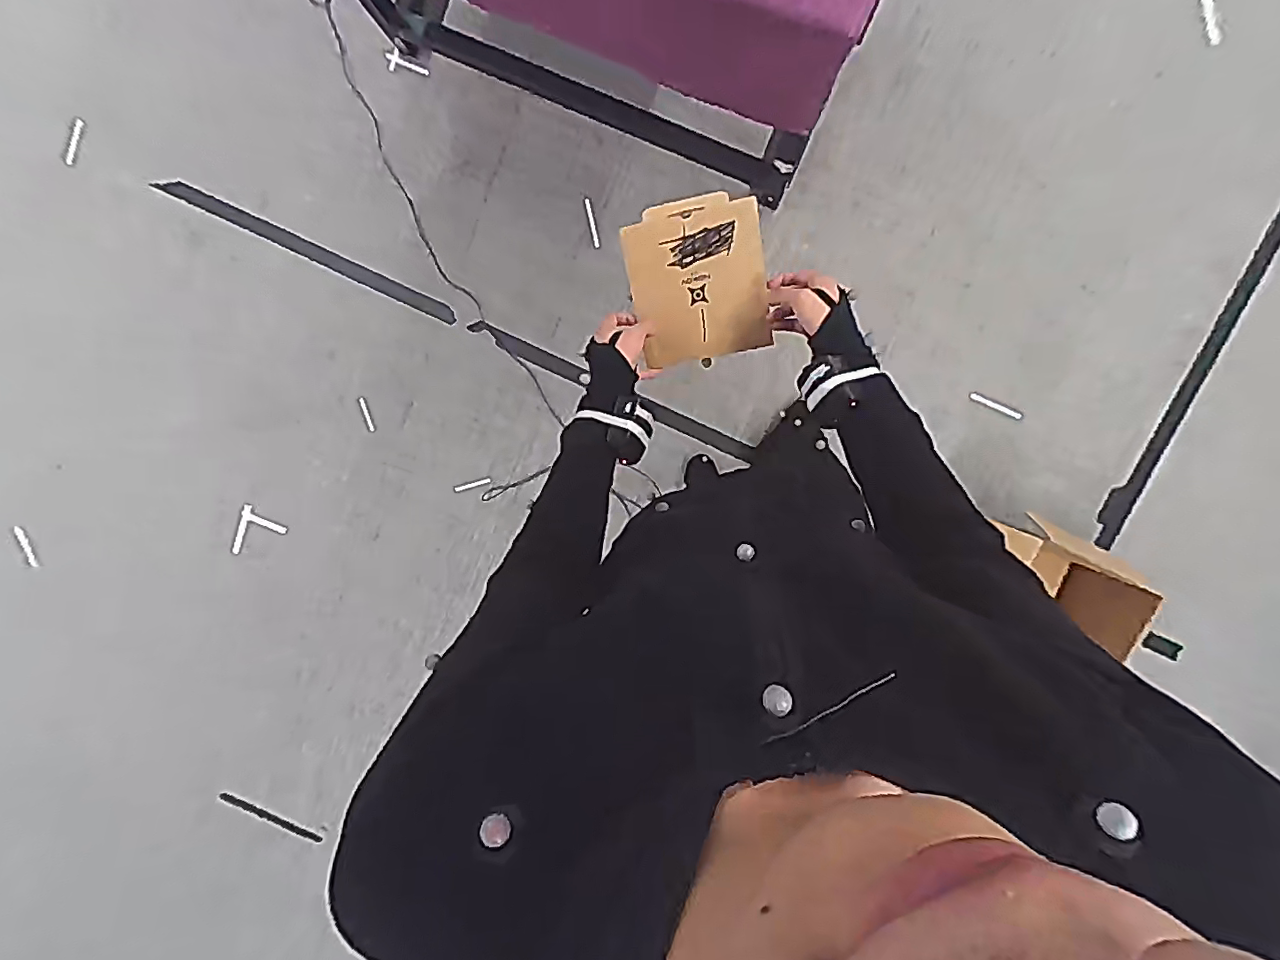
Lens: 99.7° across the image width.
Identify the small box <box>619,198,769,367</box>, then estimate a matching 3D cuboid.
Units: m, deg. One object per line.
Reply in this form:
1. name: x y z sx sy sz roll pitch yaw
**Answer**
1. small box: 0.077 -0.262 0.752 0.168 0.176 0.179 -10 104 9
